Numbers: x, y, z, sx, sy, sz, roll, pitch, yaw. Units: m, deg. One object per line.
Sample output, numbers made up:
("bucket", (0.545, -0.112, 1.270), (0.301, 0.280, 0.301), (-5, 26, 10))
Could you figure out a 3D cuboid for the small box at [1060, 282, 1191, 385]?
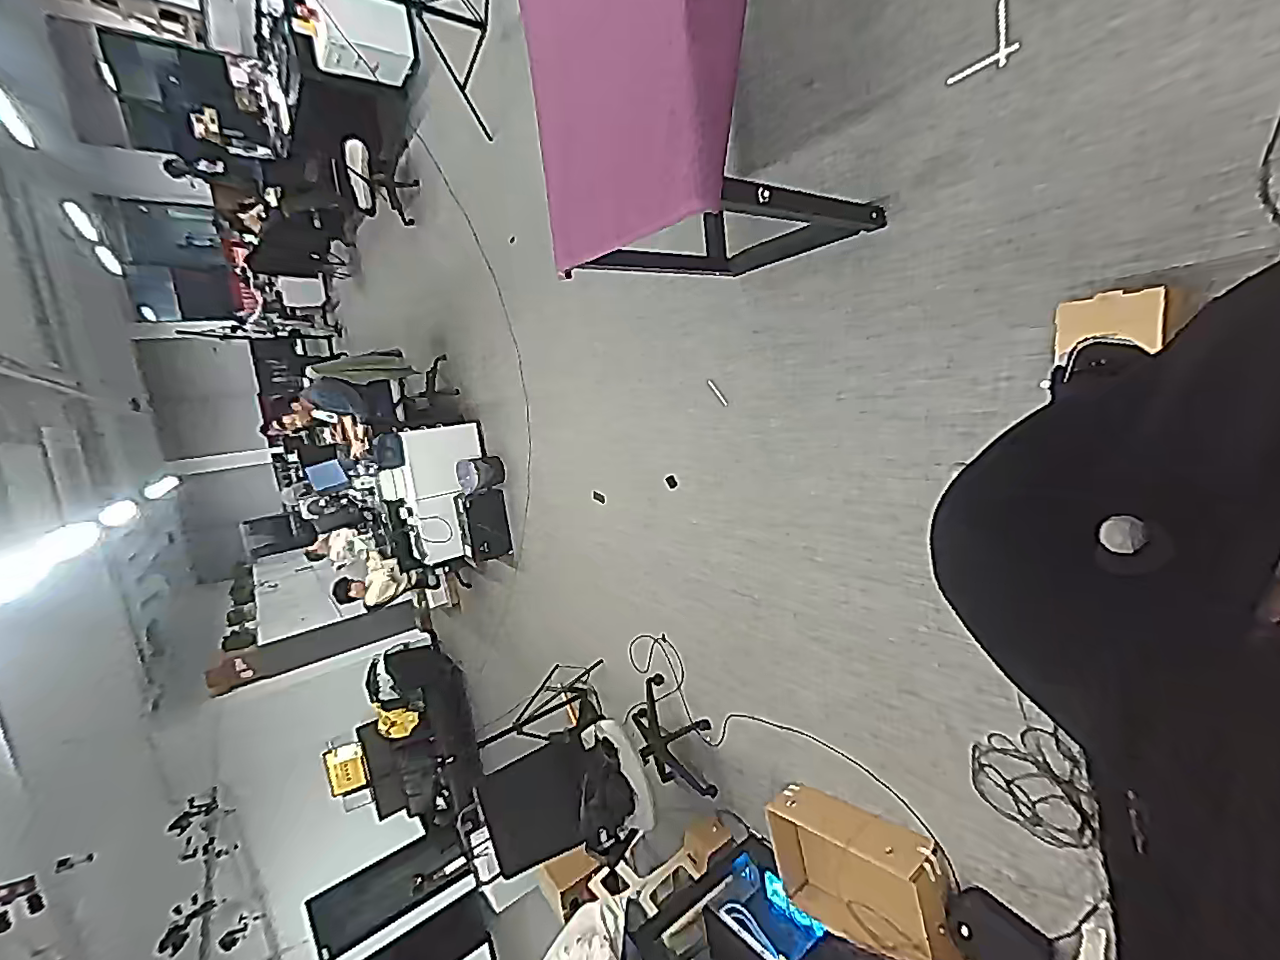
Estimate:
("small box", (0.976, -0.286, 1.088), (0.168, 0.176, 0.179), (7, 104, 53))
